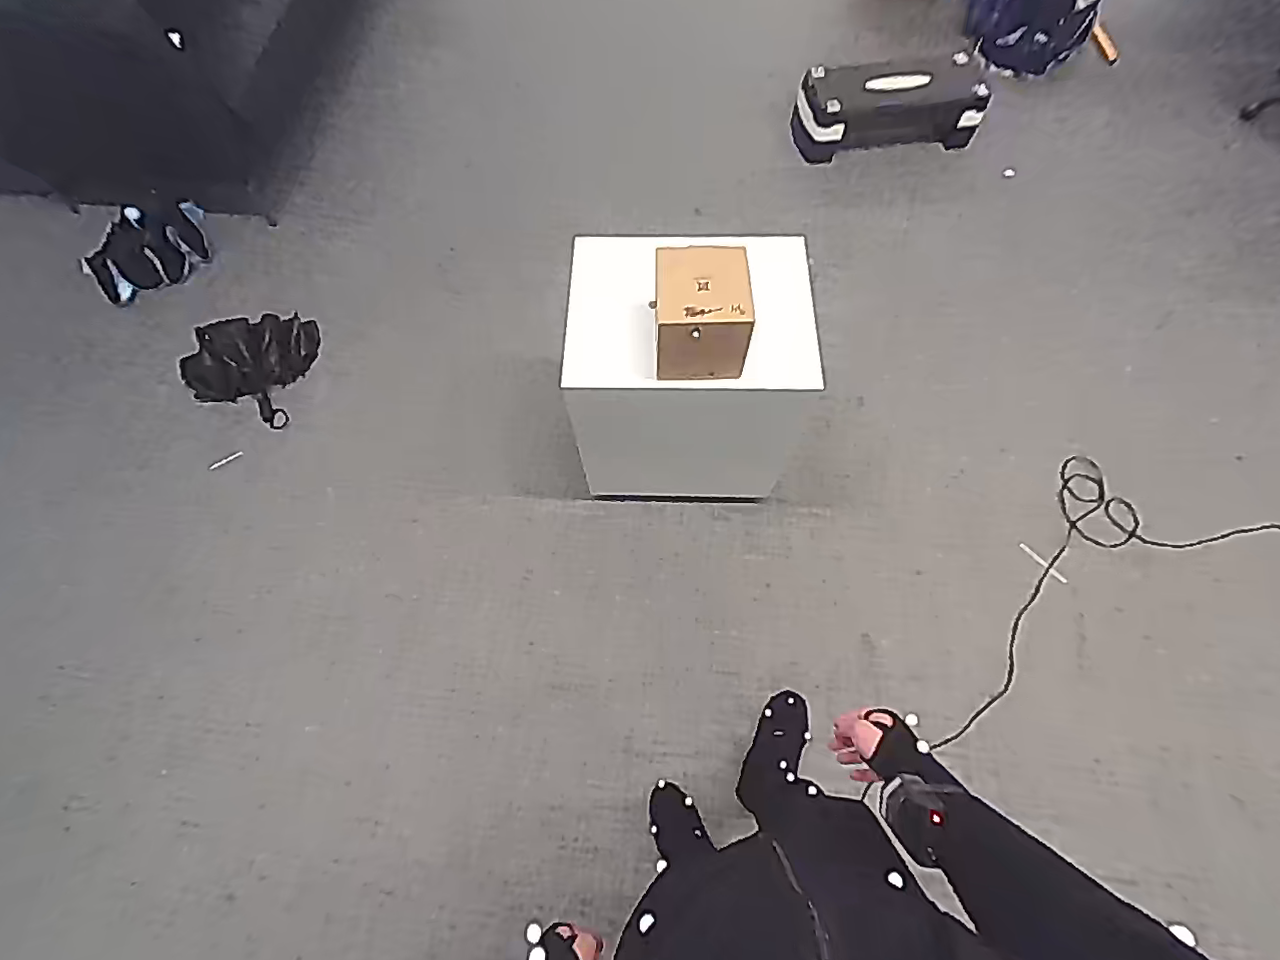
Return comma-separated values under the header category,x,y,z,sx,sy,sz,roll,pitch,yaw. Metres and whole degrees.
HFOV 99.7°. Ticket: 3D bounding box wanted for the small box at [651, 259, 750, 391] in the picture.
category,x,y,z,sx,sy,sz,roll,pitch,yaw
small box,0.105,-0.288,1.015,0.168,0.176,0.179,-2,64,1
